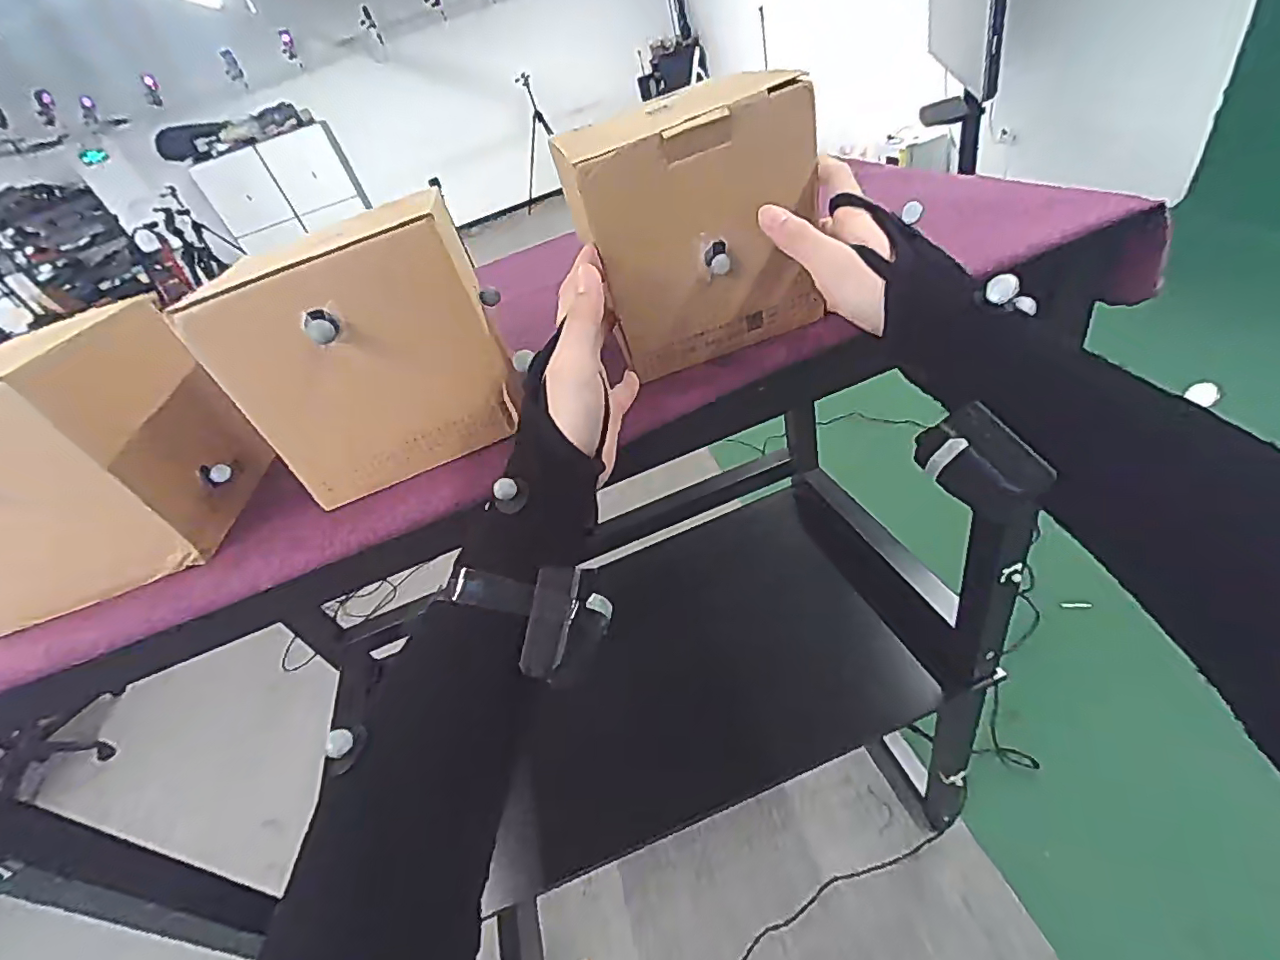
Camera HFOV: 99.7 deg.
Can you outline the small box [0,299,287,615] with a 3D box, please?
[{"bbox_3d":[-0.444,-0.019,0.441,0.179,0.176,0.168,-19,37,-1],"label":"small box"}]
